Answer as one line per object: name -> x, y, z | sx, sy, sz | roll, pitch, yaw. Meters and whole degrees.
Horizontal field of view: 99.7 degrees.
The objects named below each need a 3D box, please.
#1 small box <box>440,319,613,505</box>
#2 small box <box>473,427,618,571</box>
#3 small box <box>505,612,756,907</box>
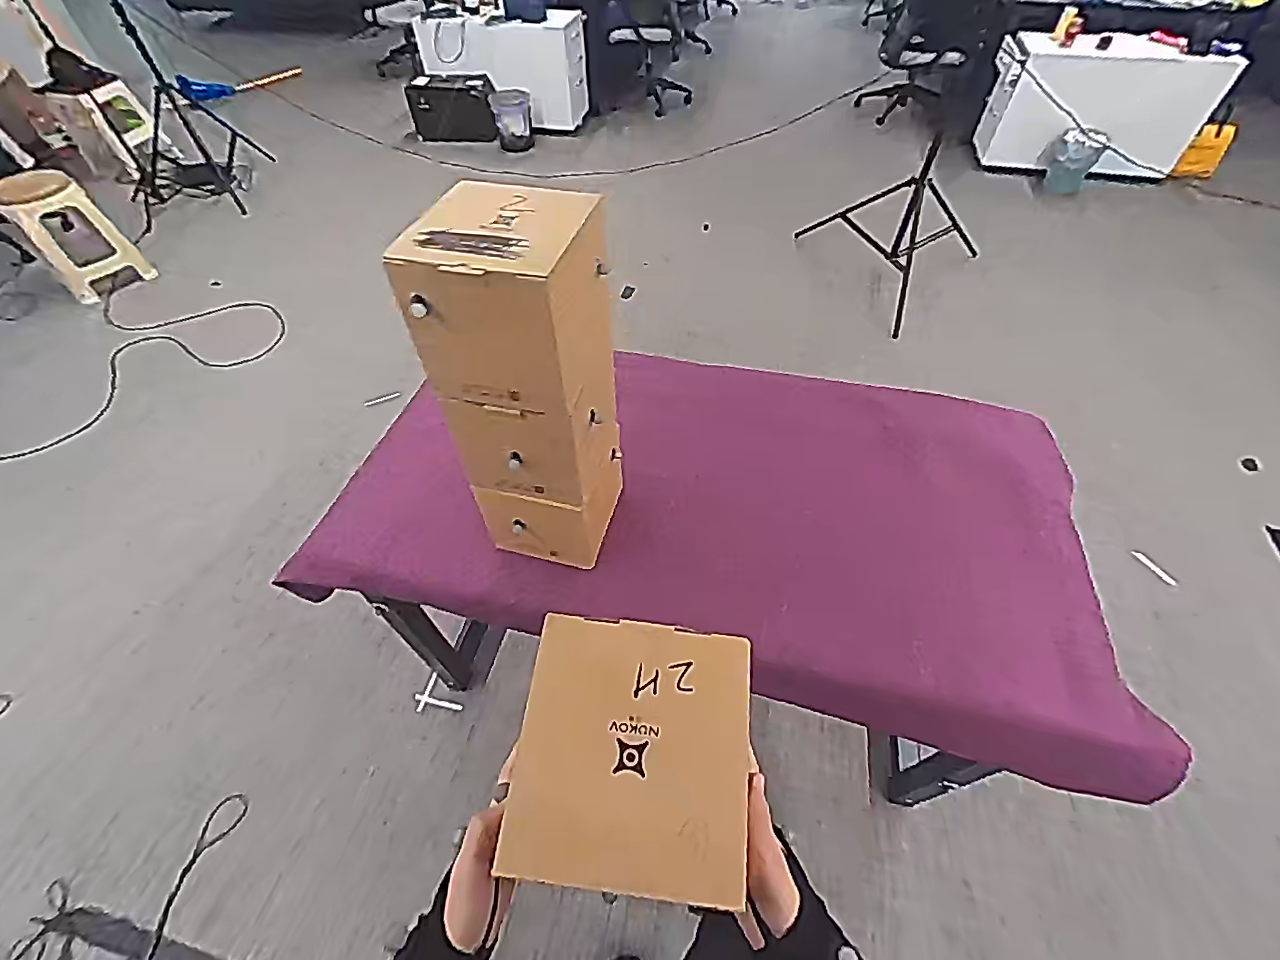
small box -> -0.135, -0.088, 0.729 | 0.168, 0.176, 0.179 | 10, 52, 8
small box -> -0.133, 0.020, 0.853 | 0.168, 0.176, 0.179 | 11, 52, 9
small box -> 0.000, 0.232, 0.463 | 0.168, 0.176, 0.179 | 7, 58, 2
